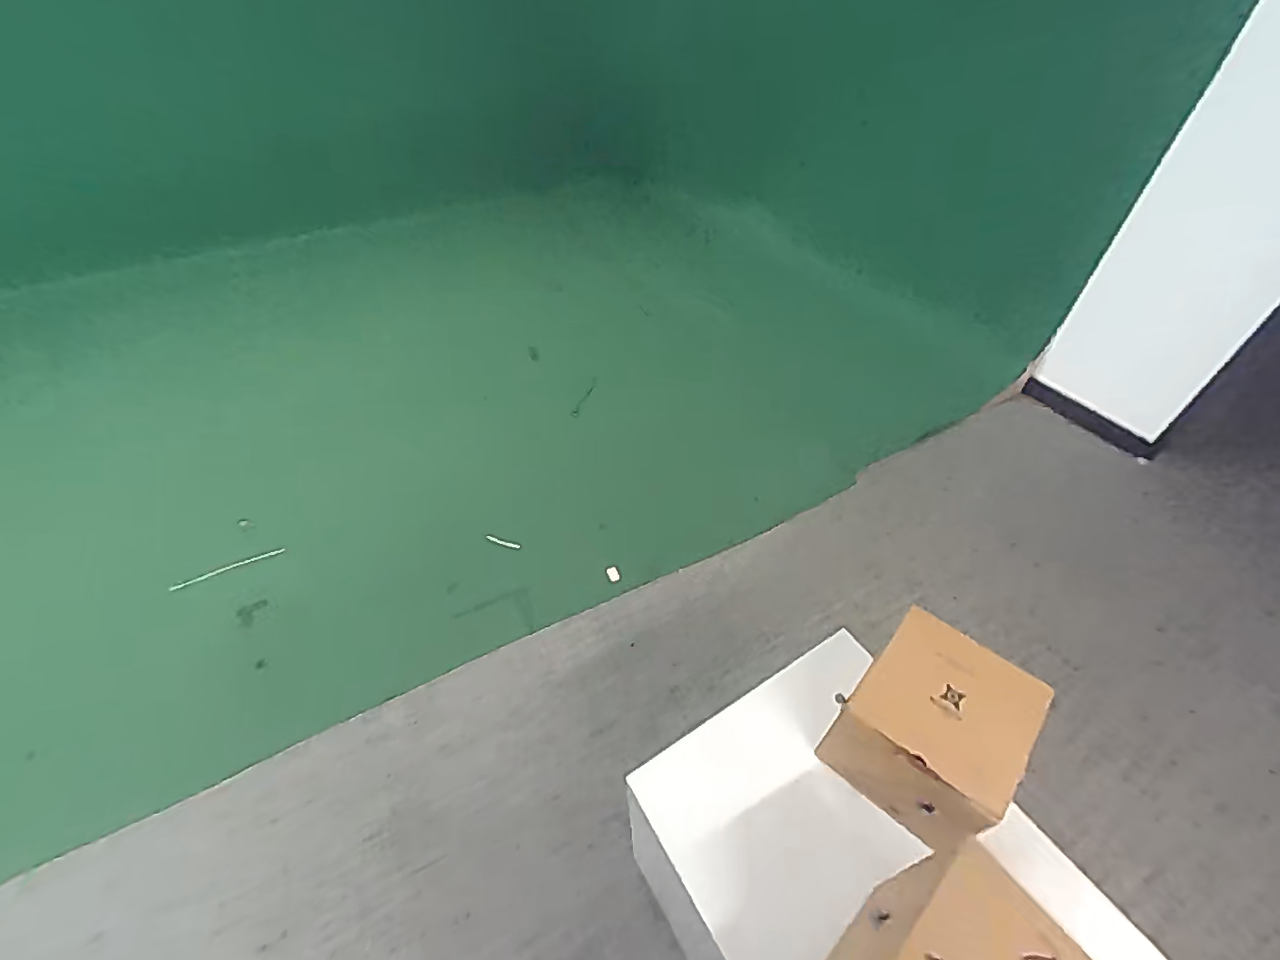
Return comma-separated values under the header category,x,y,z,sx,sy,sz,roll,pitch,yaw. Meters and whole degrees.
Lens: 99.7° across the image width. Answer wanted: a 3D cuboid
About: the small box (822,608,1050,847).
category,x,y,z,sx,sy,sz,roll,pitch,yaw
small box,0.341,0.300,0.654,0.168,0.176,0.179,33,55,27
